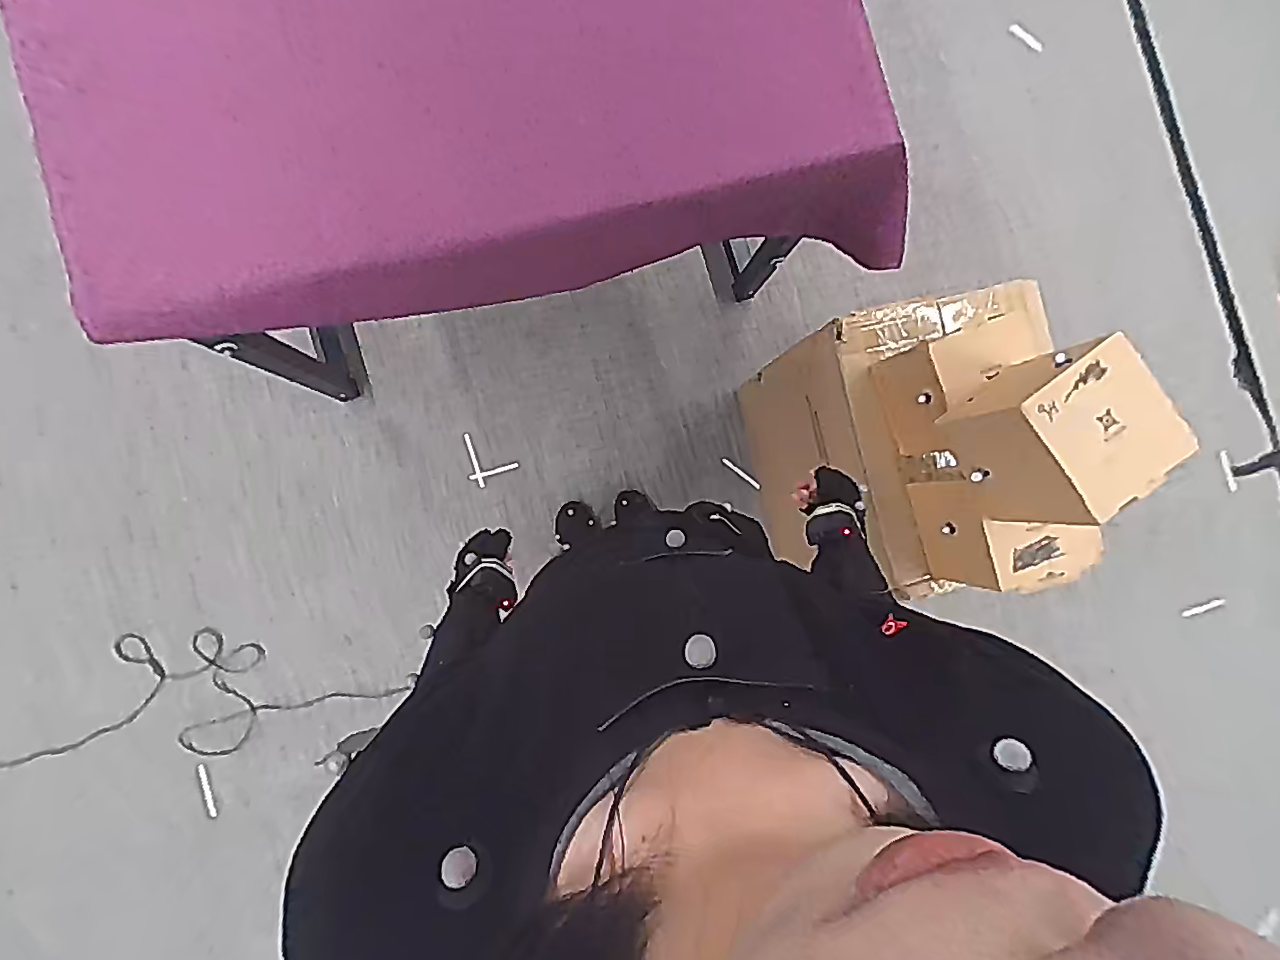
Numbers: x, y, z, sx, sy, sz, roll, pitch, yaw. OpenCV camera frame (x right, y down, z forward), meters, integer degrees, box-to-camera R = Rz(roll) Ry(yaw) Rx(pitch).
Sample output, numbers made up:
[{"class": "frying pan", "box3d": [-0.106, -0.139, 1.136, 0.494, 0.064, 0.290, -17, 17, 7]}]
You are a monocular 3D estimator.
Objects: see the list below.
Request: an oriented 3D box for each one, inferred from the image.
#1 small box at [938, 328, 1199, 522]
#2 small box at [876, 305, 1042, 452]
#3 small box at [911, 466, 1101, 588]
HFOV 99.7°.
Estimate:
[{"class": "small box", "box3d": [0.547, -0.065, 0.716, 0.168, 0.176, 0.179, -35, 91, -6]}, {"class": "small box", "box3d": [0.518, -0.155, 0.881, 0.168, 0.176, 0.179, -20, 91, -5]}, {"class": "small box", "box3d": [0.578, 0.061, 0.876, 0.168, 0.176, 0.179, -15, 87, -6]}]
